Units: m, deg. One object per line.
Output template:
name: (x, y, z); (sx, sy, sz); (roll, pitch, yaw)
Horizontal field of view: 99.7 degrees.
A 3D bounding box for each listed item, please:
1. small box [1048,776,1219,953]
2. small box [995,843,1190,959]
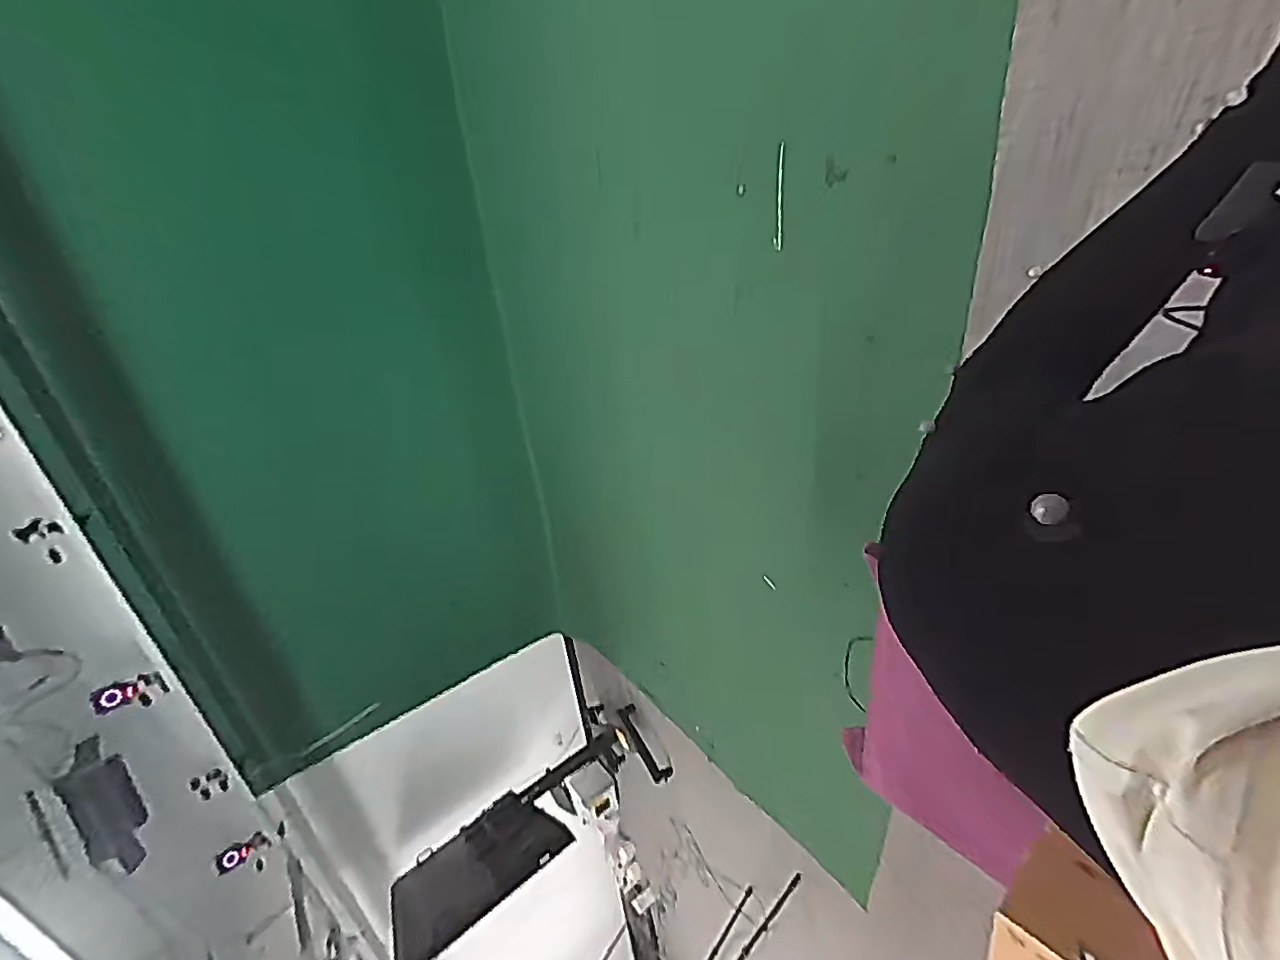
small box: (0.751, 0.614, 0.838); (0.168, 0.176, 0.179); (19, 125, 49)
small box: (0.622, 0.670, 0.753); (0.168, 0.176, 0.179); (18, 125, 50)
